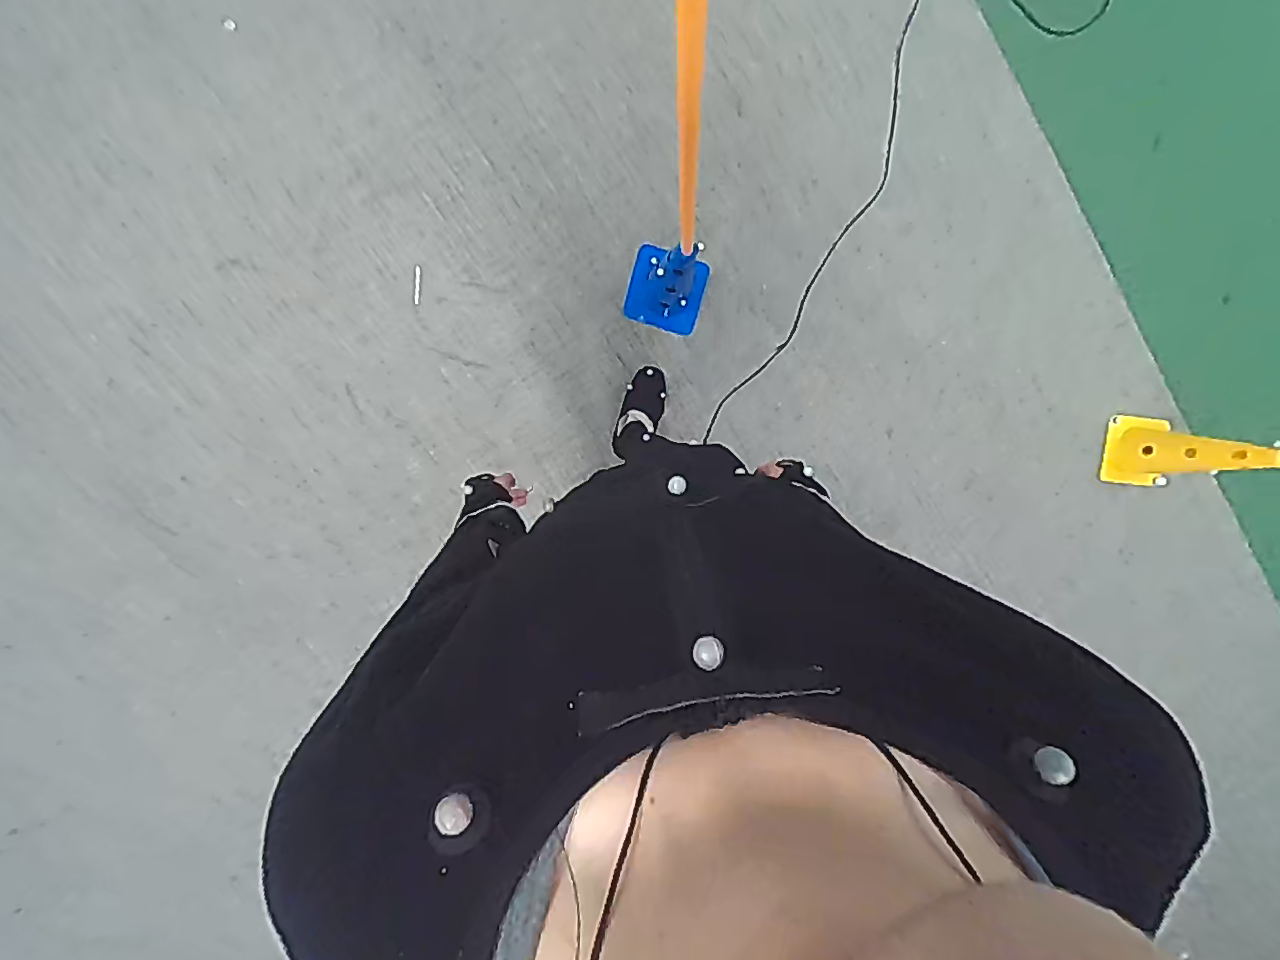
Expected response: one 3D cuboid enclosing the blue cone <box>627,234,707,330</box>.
[{"bbox_3d":[0.081,-0.483,1.262,0.193,0.380,0.192,15,95,-5],"label":"blue cone"}]
